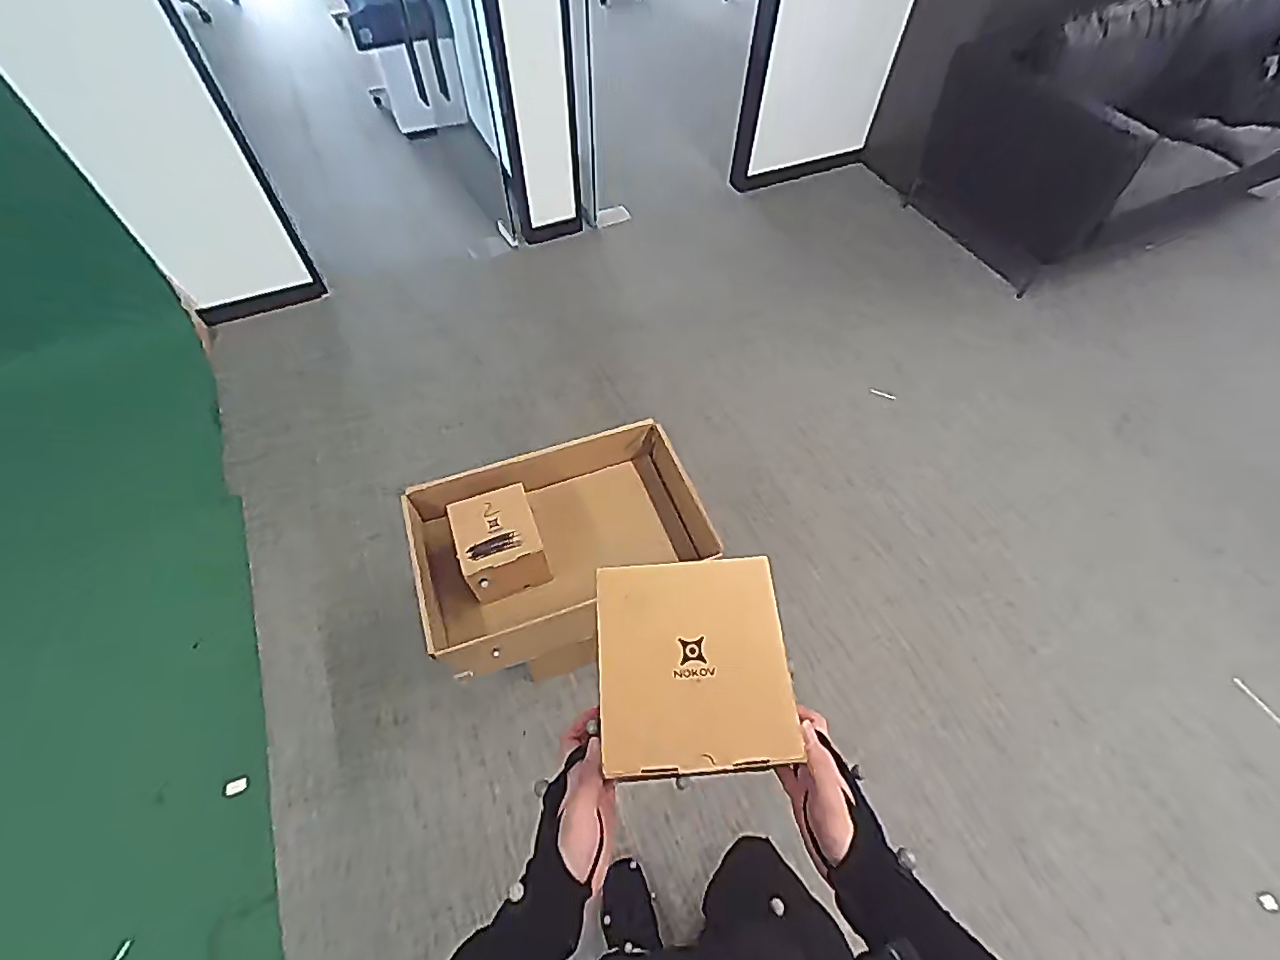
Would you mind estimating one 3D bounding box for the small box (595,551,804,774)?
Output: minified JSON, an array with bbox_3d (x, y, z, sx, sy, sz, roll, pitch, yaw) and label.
[{"bbox_3d":[0.043,0.185,0.533,0.168,0.176,0.179,-4,61,-2],"label":"small box"}]
